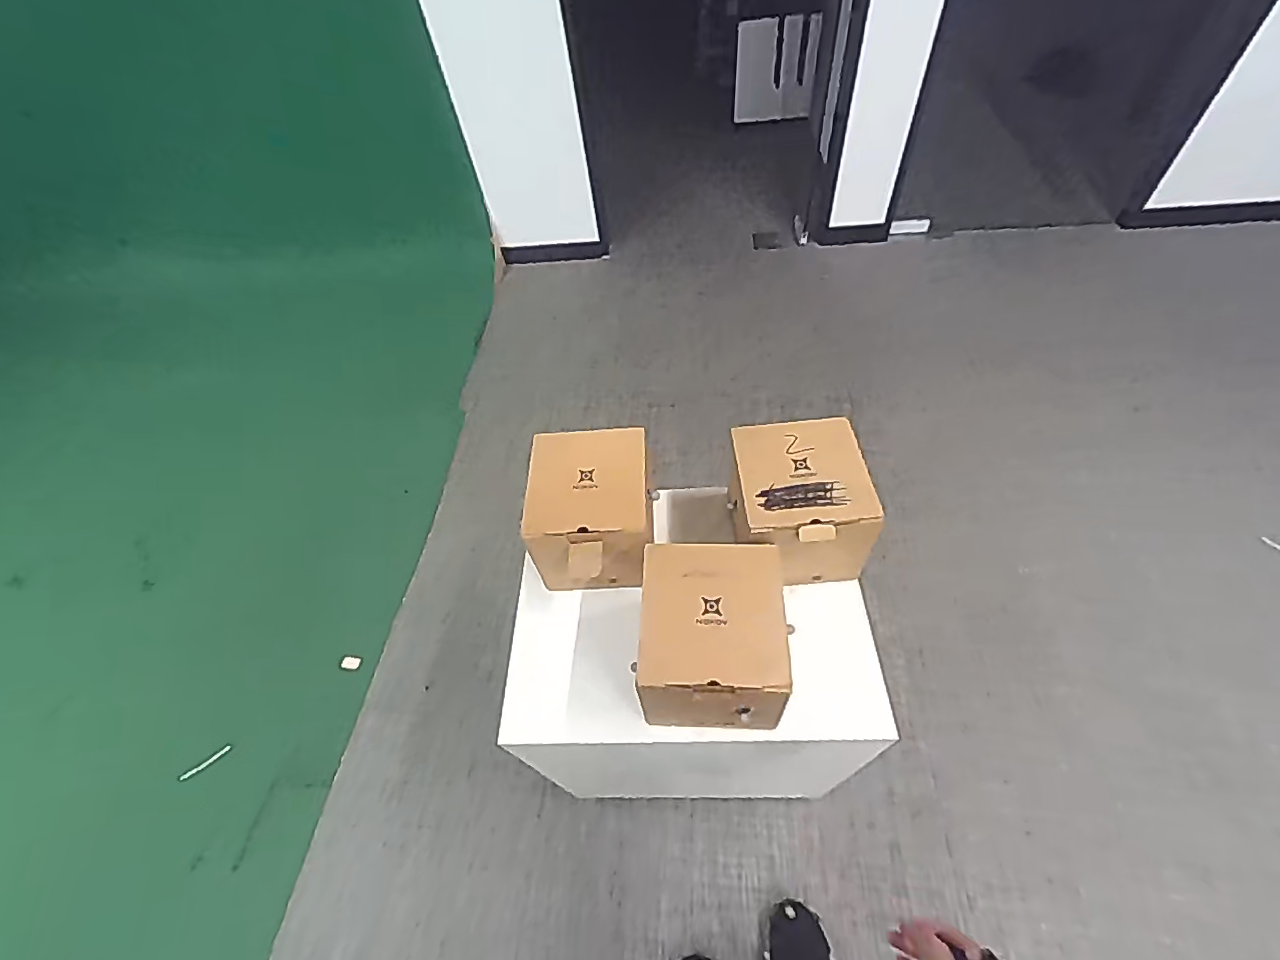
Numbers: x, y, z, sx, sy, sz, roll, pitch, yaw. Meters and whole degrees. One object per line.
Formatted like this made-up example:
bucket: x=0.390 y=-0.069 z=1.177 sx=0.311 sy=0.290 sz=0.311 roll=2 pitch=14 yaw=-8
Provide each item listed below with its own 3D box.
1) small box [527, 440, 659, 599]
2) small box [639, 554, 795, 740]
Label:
small box: x=-0.060 y=0.062 z=0.806 sx=0.168 sy=0.176 sz=0.179 roll=-3 pitch=54 yaw=4
small box: x=0.094 y=0.210 z=0.672 sx=0.168 sy=0.176 sz=0.179 roll=0 pitch=51 yaw=7
